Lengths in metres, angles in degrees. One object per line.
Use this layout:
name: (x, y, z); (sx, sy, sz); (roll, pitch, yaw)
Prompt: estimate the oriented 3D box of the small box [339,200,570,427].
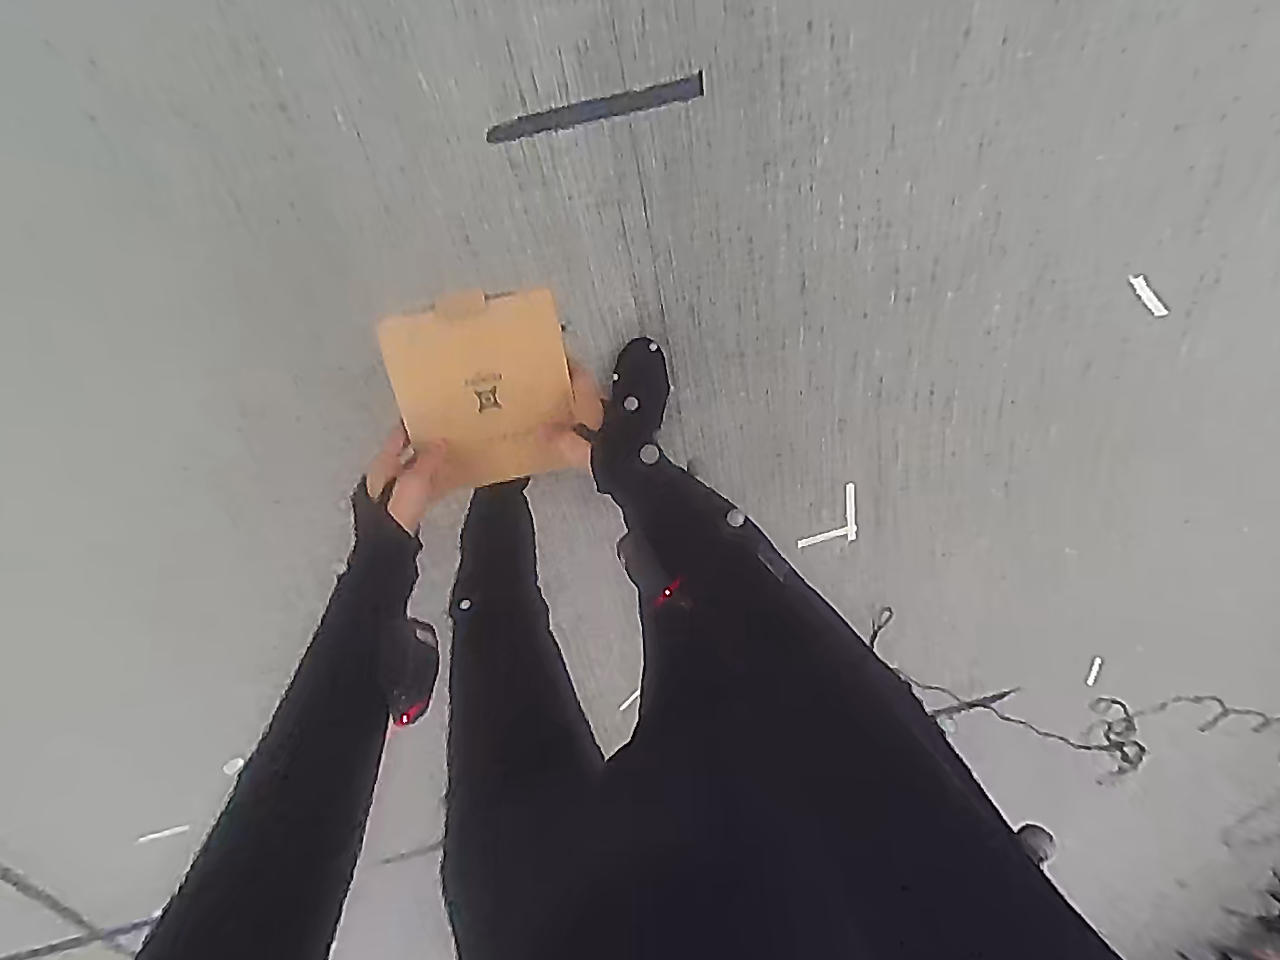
small box: (-0.170, -0.167, 0.555); (0.168, 0.176, 0.179); (-11, 110, -4)
